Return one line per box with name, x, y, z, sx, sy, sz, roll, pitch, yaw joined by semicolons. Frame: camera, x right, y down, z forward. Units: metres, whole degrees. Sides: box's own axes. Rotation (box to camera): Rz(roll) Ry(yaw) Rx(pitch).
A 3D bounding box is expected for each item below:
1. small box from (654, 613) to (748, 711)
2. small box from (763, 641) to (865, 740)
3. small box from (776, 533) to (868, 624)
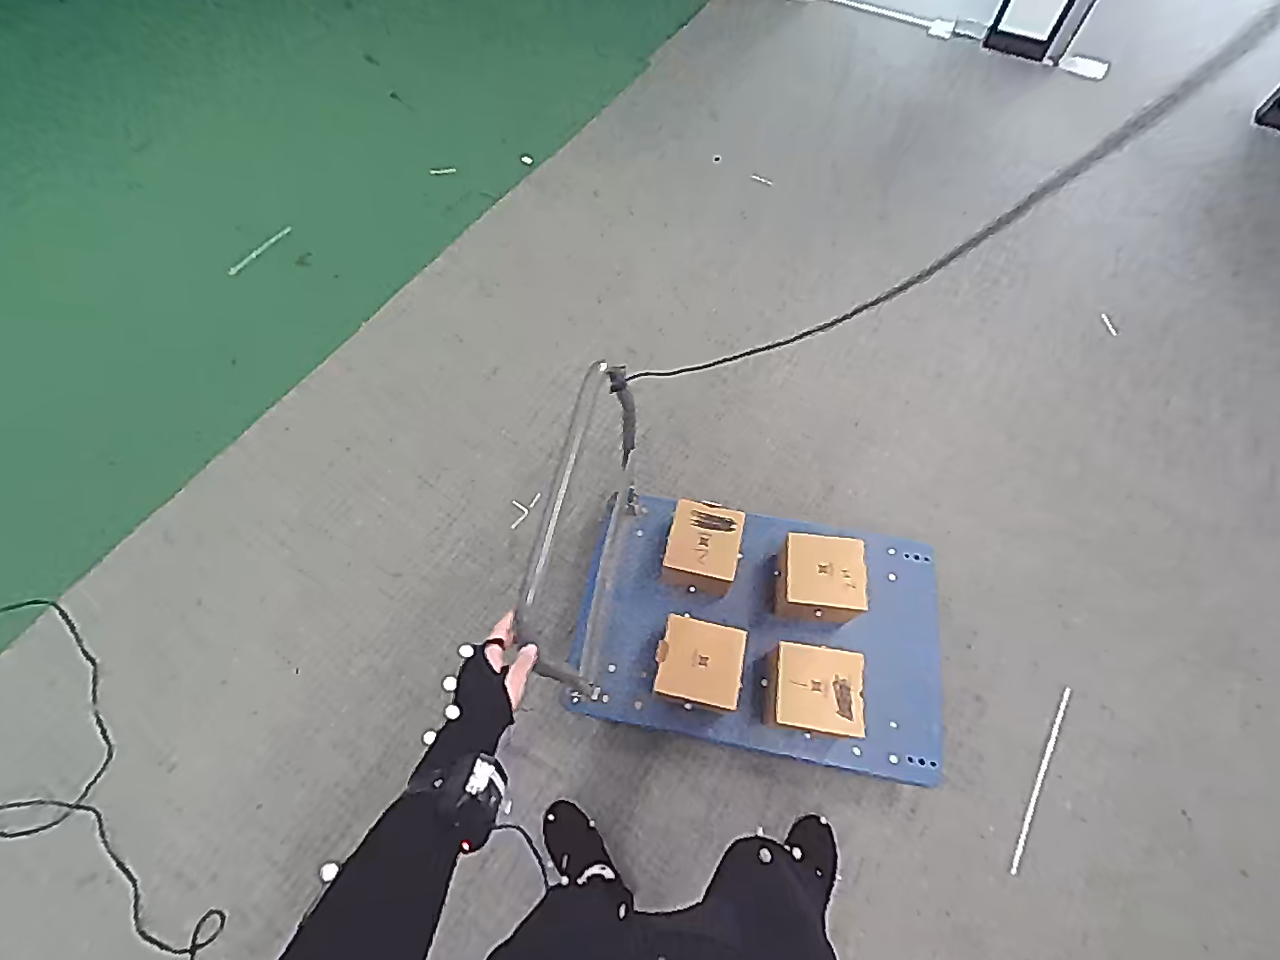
small box;0.134;0.415;1.217;0.179;0.176;0.168;11;65;8
small box;0.376;0.464;1.183;0.179;0.176;0.168;8;64;7
small box;0.427;0.239;1.290;0.179;0.176;0.168;7;65;5
